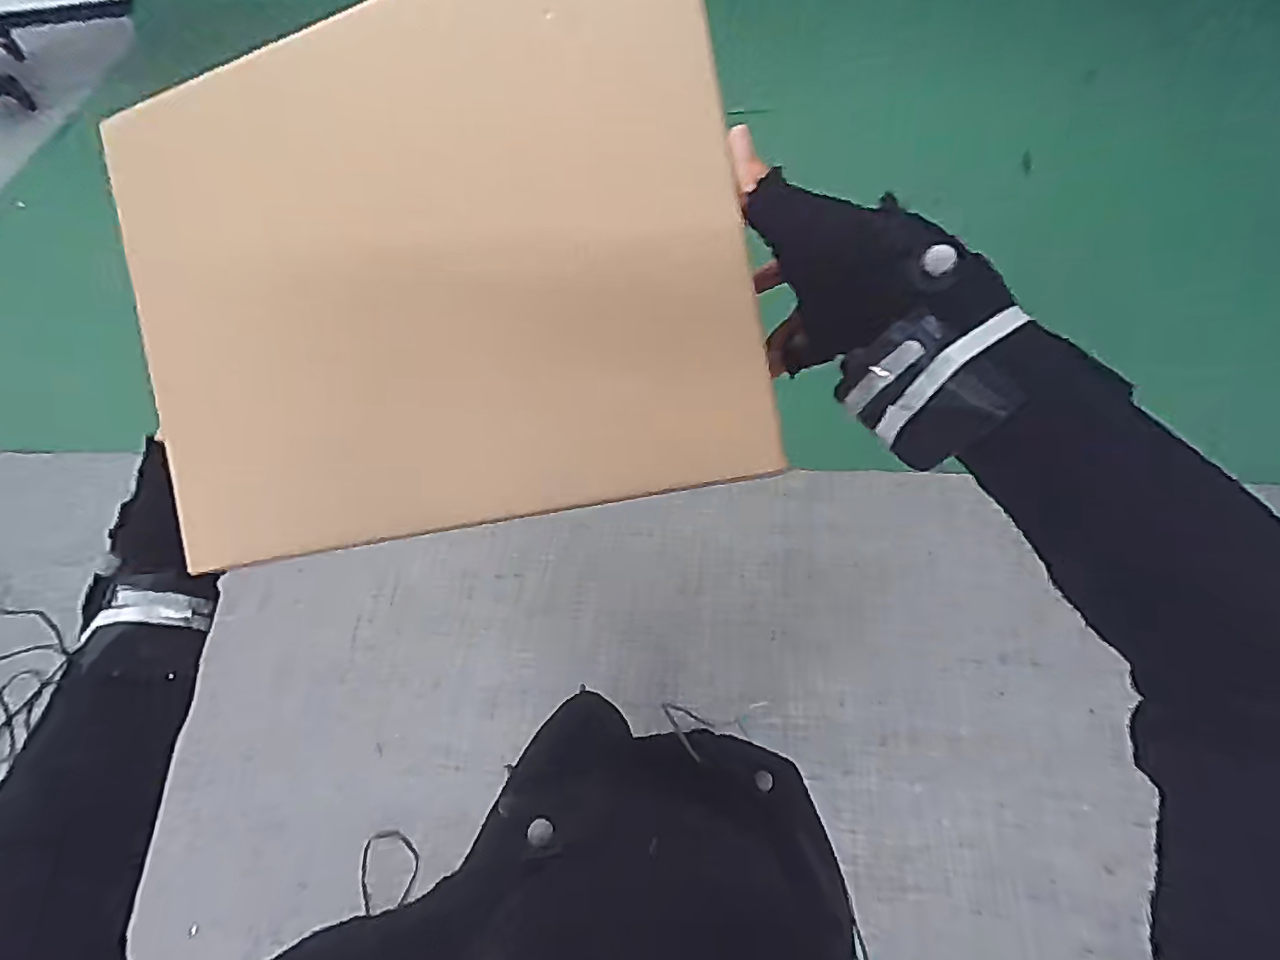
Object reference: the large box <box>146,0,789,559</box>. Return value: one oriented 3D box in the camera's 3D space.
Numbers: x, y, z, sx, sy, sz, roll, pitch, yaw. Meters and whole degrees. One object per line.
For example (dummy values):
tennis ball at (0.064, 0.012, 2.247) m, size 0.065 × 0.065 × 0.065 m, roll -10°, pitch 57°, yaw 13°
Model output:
large box at (-0.099, -0.129, 0.473) m, size 0.408 × 0.320 × 0.320 m, roll -9°, pitch 91°, yaw 15°
